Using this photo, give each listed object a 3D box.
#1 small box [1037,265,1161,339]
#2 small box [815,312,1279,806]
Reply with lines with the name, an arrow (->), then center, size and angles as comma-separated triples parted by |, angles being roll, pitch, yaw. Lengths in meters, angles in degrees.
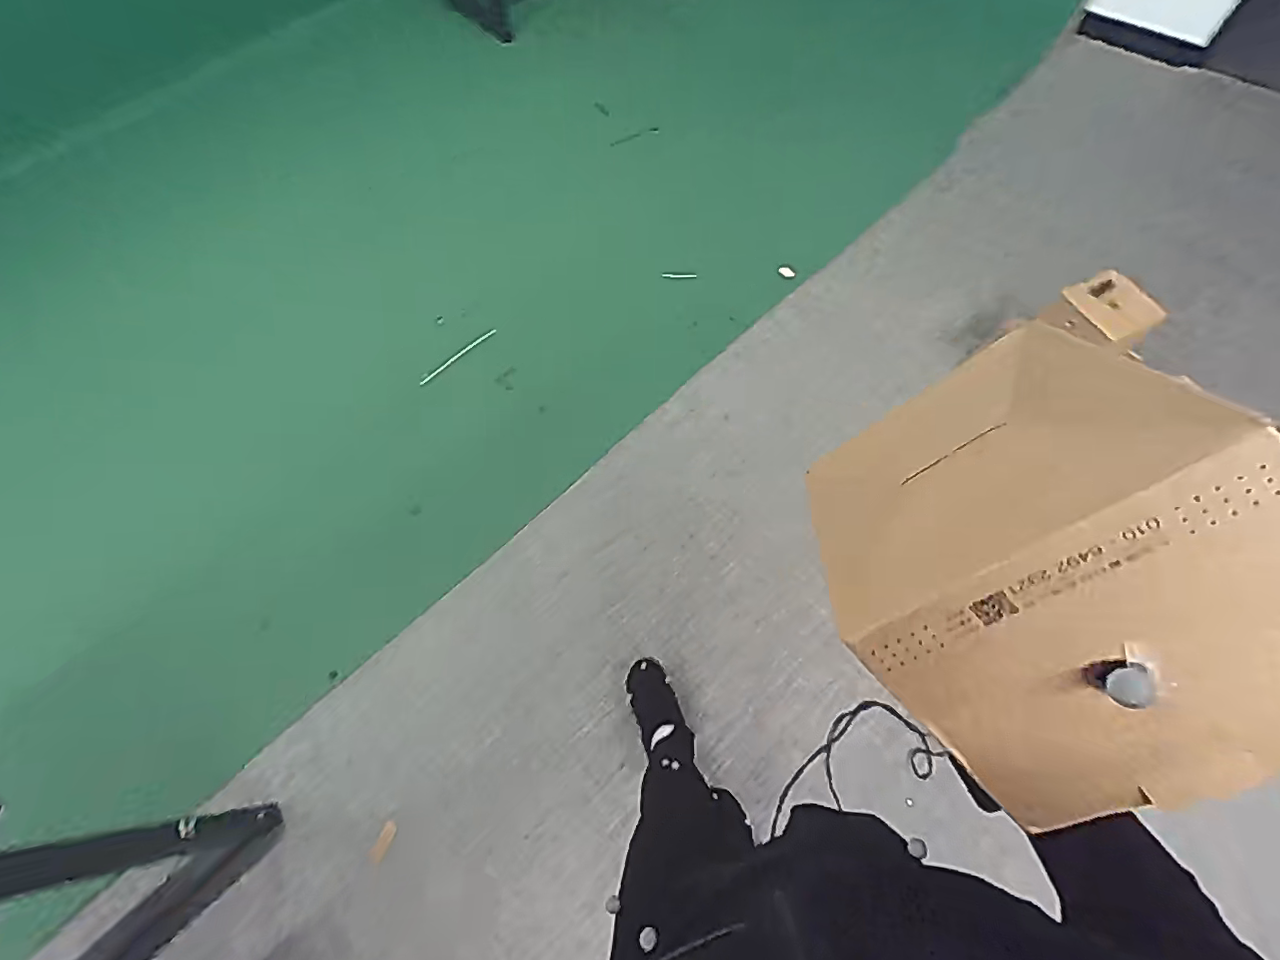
small box -> 1.142, -0.407, 1.385 | 0.168, 0.176, 0.179 | -24, 67, -7
small box -> 0.219, 0.032, 0.306 | 0.168, 0.179, 0.176 | -36, 104, 25
